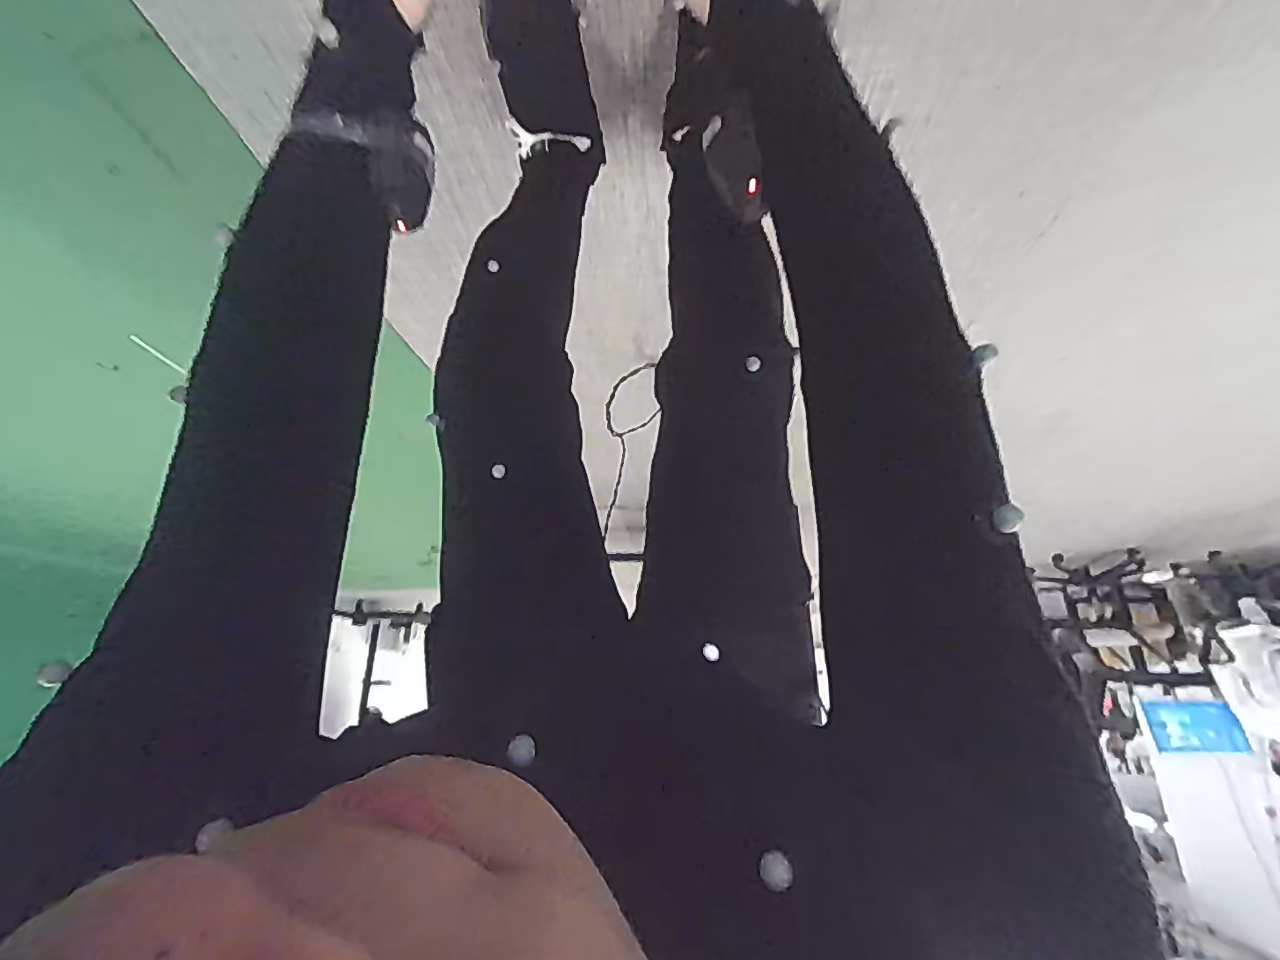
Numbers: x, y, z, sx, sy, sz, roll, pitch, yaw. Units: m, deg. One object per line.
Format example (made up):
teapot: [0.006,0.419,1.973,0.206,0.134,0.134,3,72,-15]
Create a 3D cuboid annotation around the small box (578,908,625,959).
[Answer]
small box: [-0.146,1.745,2.081,0.168,0.176,0.179,-1,160,2]
